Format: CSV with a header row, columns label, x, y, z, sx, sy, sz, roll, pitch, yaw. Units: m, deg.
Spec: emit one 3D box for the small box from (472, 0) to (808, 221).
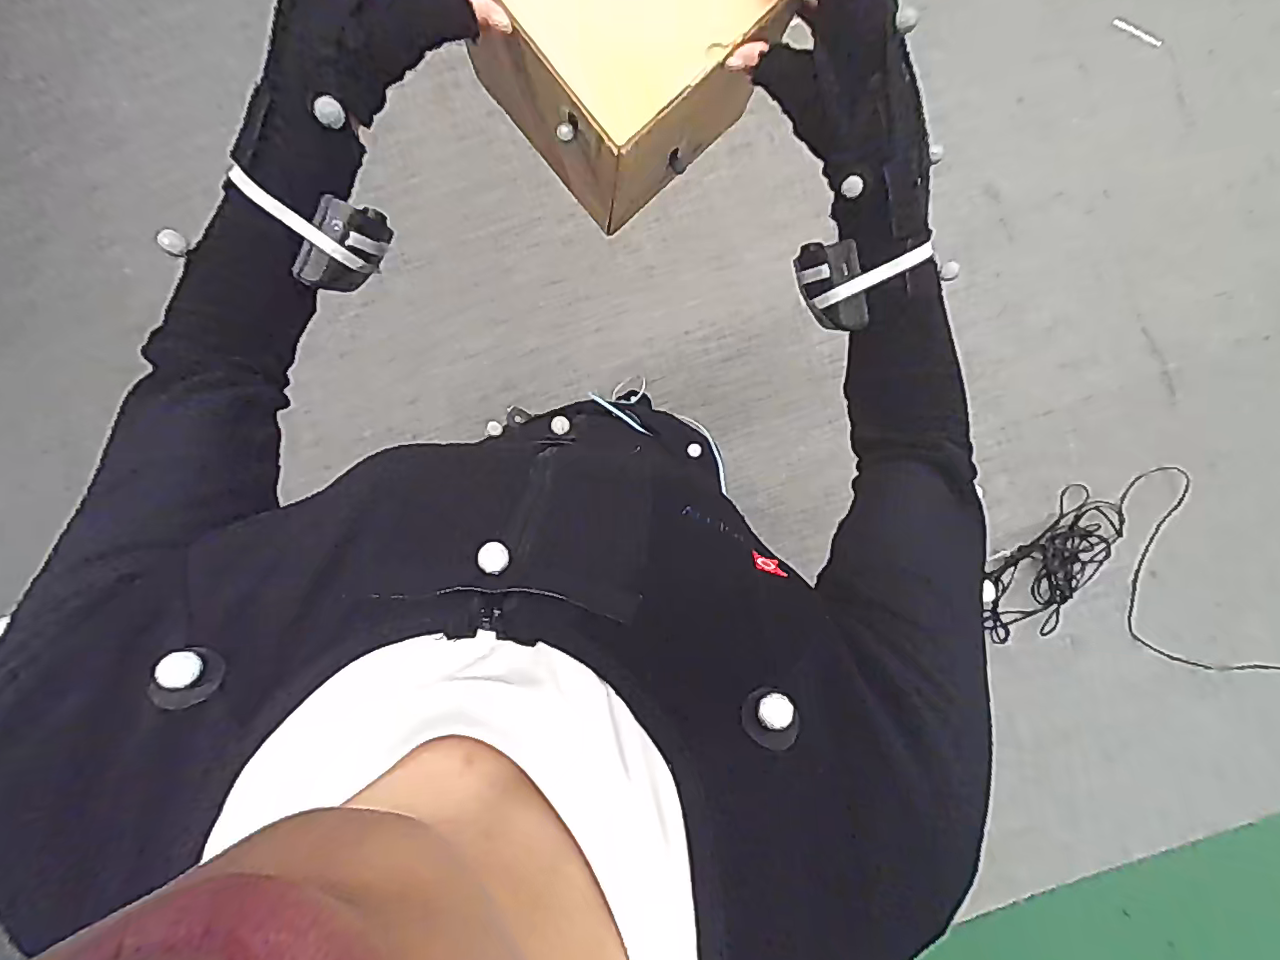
label,x,y,z,sx,sy,sz,roll,pitch,yaw
small box,-0.011,-0.335,0.404,0.168,0.176,0.179,-42,101,1
